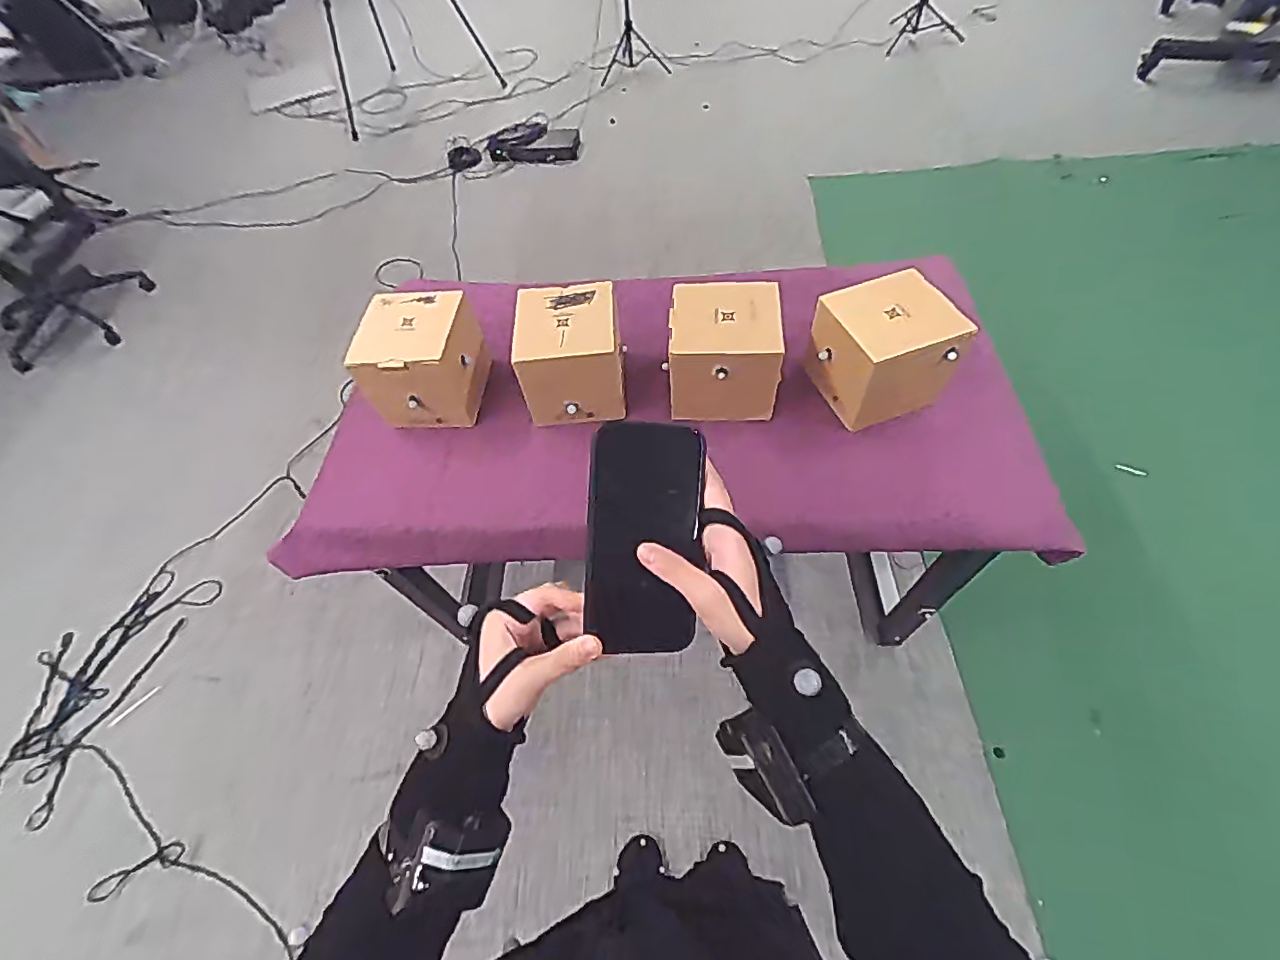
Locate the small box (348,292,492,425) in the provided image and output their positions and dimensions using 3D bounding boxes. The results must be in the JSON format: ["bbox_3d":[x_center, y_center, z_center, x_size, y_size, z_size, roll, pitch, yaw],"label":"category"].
[{"bbox_3d":[-0.383,-0.212,0.979,0.168,0.176,0.179,0,58,6],"label":"small box"}]

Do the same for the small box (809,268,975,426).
[{"bbox_3d":[0.399,-0.215,0.900,0.179,0.176,0.168,-19,56,-7],"label":"small box"}]

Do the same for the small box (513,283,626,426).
[{"bbox_3d":[-0.116,-0.219,0.955,0.168,0.176,0.179,-5,57,3],"label":"small box"}]

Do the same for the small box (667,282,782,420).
[{"bbox_3d":[0.142,-0.216,0.928,0.179,0.176,0.168,2,58,7],"label":"small box"}]
